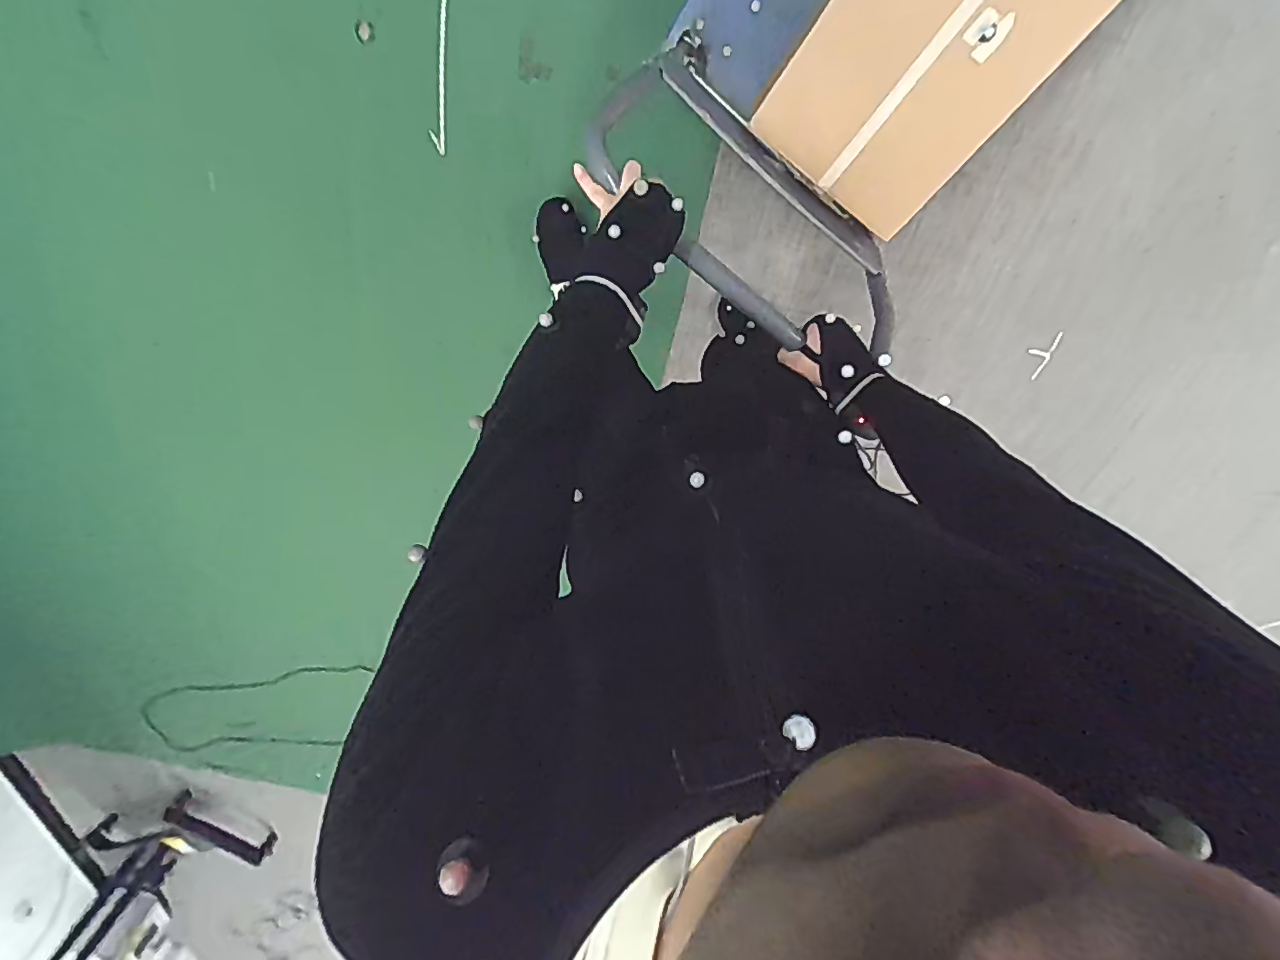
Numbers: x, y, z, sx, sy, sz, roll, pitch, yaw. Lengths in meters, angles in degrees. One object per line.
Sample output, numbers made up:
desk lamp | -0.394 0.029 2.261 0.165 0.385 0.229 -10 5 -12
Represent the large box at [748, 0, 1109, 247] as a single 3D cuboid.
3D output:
large box | 0.431 -0.697 0.924 0.320 0.320 0.408 32 128 -14
